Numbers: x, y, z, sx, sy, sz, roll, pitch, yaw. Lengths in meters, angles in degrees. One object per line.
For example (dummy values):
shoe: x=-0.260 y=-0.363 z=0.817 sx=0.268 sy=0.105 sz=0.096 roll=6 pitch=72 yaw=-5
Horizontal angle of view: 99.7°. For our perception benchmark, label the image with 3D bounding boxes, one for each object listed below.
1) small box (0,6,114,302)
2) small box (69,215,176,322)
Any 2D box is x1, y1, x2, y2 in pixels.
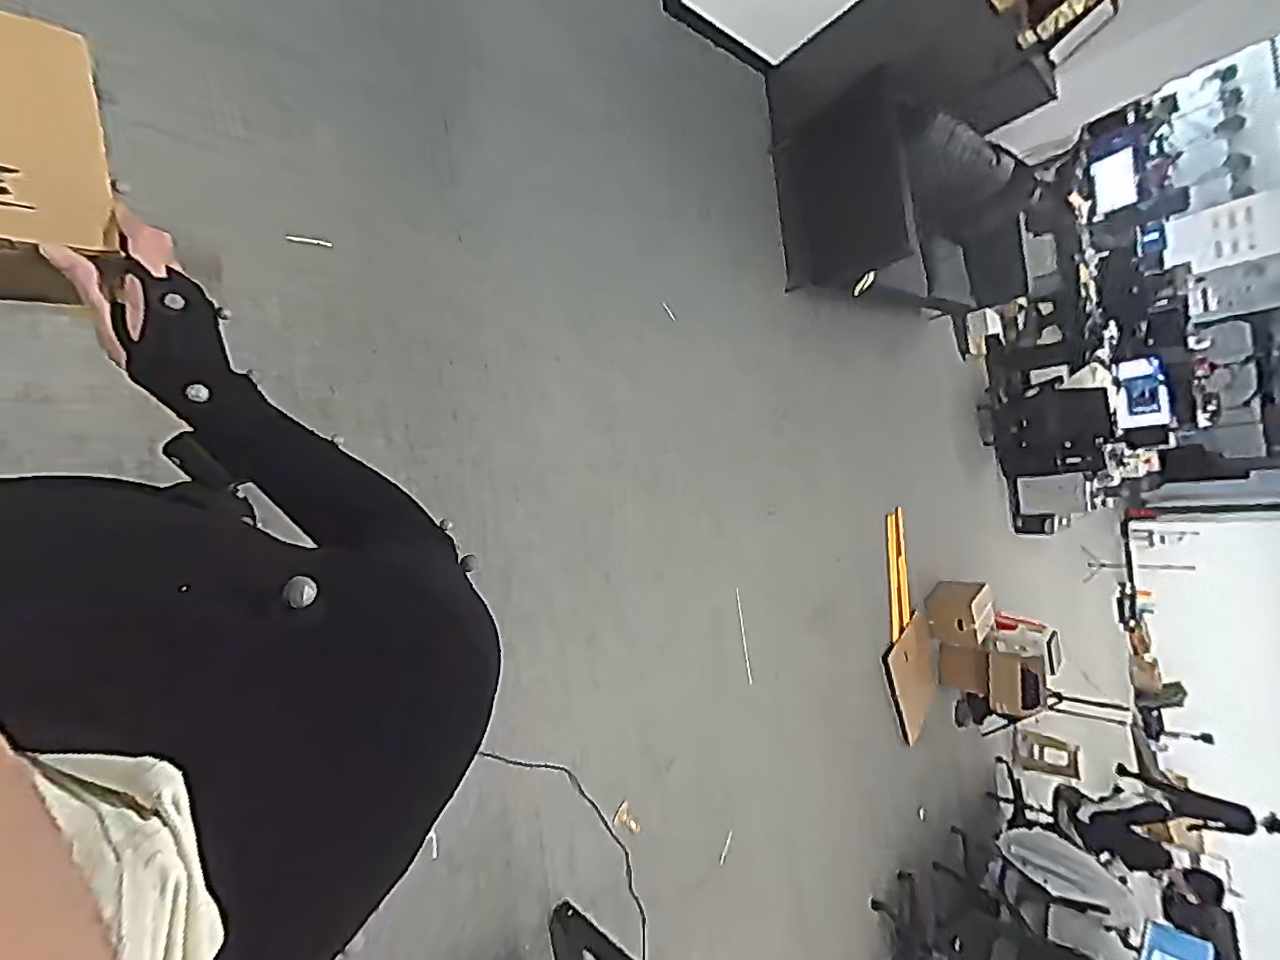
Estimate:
small box: x=-0.543 y=-0.252 z=0.427 sx=0.168 sy=0.176 sz=0.179 roll=-10 pitch=95 yaw=-43
small box: x=-1.130 y=-0.455 z=1.176 sx=0.179 sy=0.176 sz=0.168 roll=-3 pitch=88 yaw=-41
